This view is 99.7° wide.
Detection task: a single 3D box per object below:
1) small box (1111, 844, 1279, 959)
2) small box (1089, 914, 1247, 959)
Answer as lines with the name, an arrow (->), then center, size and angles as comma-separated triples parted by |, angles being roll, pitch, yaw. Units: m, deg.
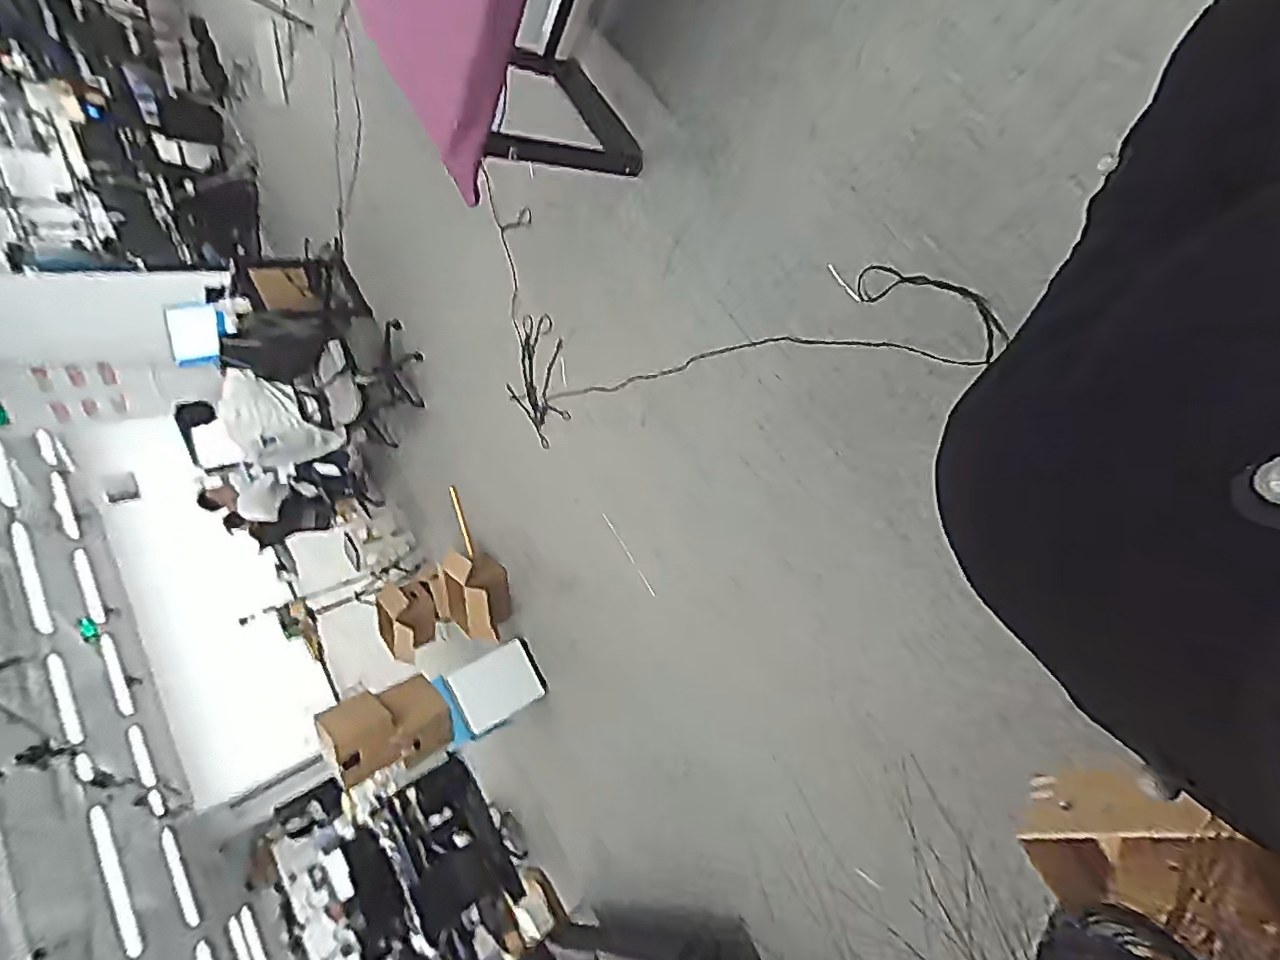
small box -> 0.901, 0.718, 0.856 | 0.168, 0.176, 0.179 | -39, 74, 49
small box -> 0.773, 0.762, 0.763 | 0.179, 0.176, 0.168 | -42, 72, 49
